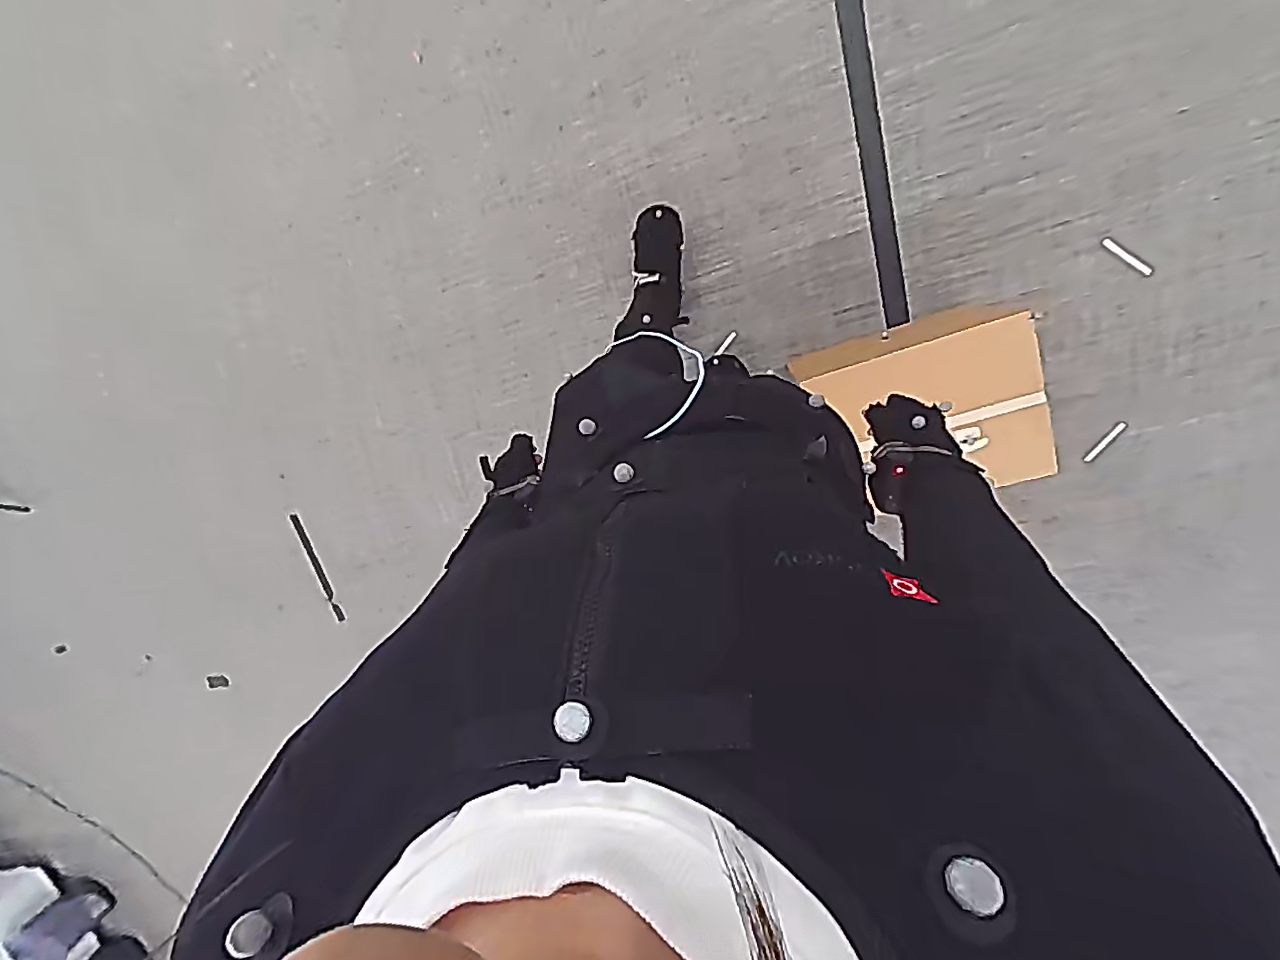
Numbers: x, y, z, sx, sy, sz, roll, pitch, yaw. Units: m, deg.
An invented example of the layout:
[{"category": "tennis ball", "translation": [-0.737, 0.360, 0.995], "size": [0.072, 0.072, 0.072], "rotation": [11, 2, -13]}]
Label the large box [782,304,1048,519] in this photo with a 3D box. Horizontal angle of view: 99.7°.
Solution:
[{"category": "large box", "translation": [0.552, -0.157, 1.159], "size": [0.408, 0.320, 0.320], "rotation": [-16, 106, 15]}]
